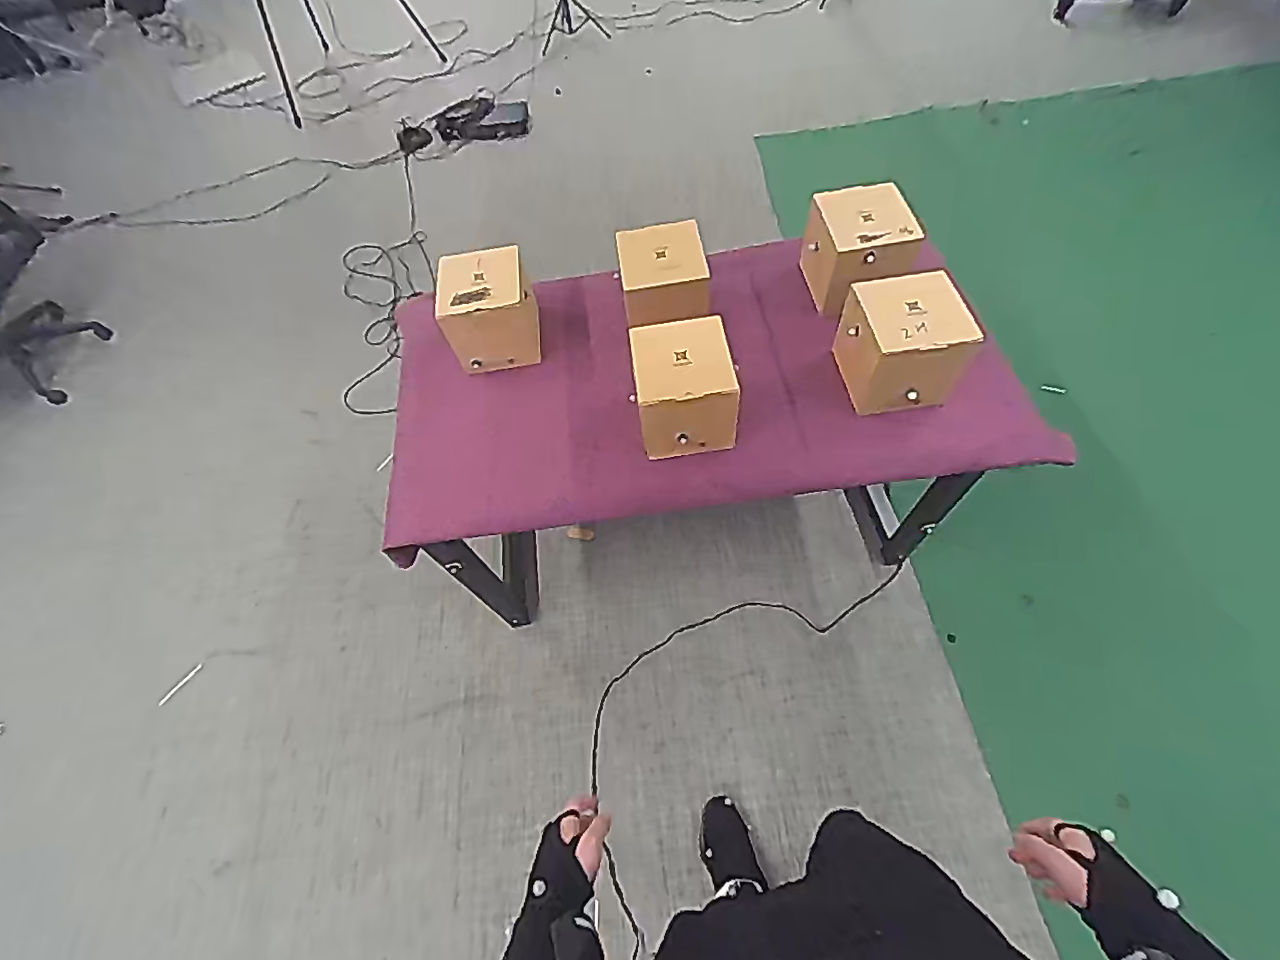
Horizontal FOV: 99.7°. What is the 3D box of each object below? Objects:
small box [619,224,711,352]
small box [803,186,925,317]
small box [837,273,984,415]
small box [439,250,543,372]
[{"bbox_3d":[0.052,-0.394,1.122,0.168,0.176,0.179,-9,61,2],"label":"small box"},{"bbox_3d":[0.448,-0.467,1.116,0.168,0.176,0.179,-9,60,2],"label":"small box"},{"bbox_3d":[0.474,-0.243,0.982,0.168,0.176,0.179,-8,59,3],"label":"small box"},{"bbox_3d":[-0.303,-0.344,1.130,0.168,0.176,0.179,-9,60,1],"label":"small box"}]
